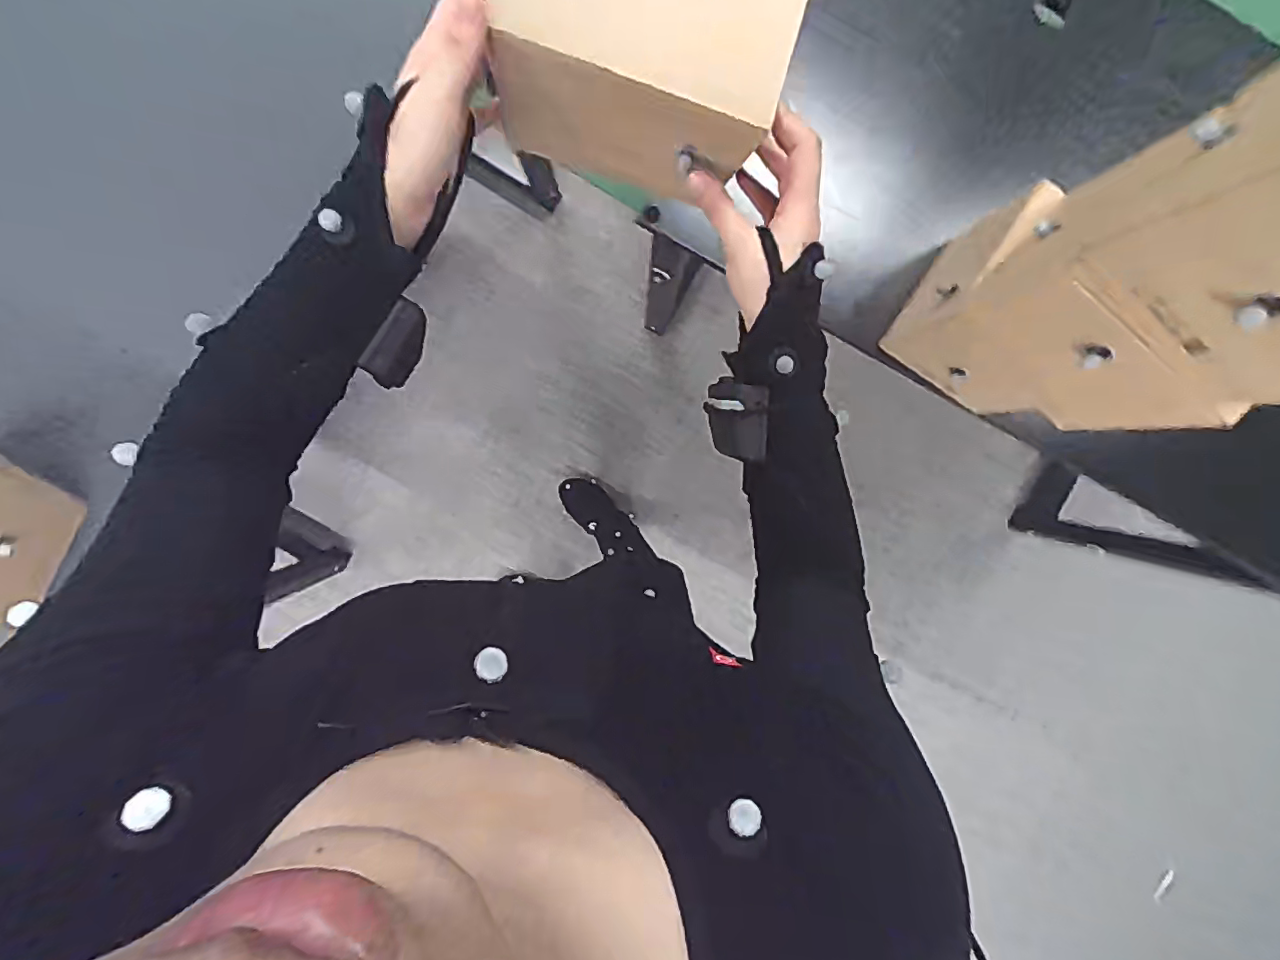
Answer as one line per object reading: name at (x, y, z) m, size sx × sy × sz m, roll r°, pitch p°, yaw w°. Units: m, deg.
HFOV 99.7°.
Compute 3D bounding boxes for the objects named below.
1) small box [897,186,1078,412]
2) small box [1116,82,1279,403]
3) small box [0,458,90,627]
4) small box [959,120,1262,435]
small box at (0.443, -0.195, 0.645) m, size 0.168 × 0.176 × 0.179 m, roll 33°, pitch 93°, yaw -3°
small box at (0.447, -0.162, 0.321) m, size 0.168 × 0.176 × 0.179 m, roll 44°, pitch 94°, yaw -2°
small box at (-0.851, 0.079, 0.663) m, size 0.168 × 0.176 × 0.179 m, roll 29°, pitch 94°, yaw 0°
small box at (0.444, -0.158, 0.485) m, size 0.179 × 0.176 × 0.168 m, roll 42°, pitch 93°, yaw -3°
